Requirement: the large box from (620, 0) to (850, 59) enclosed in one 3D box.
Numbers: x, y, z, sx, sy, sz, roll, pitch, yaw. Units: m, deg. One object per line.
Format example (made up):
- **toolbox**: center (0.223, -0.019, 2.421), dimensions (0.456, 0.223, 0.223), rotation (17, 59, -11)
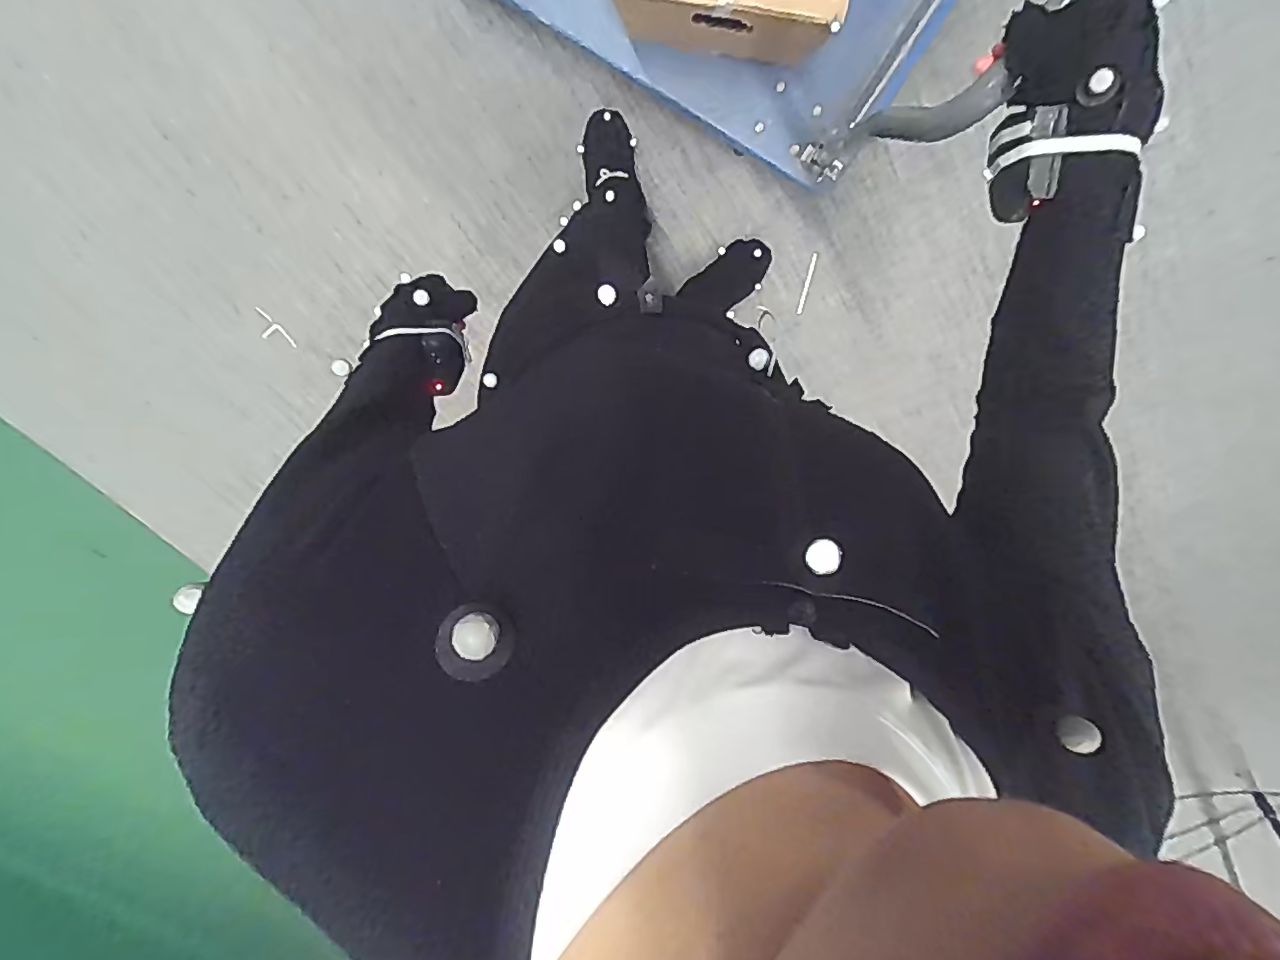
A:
- **large box**: center (0.147, -0.858, 0.727), dimensions (0.320, 0.320, 0.408), rotation (9, 121, 0)
